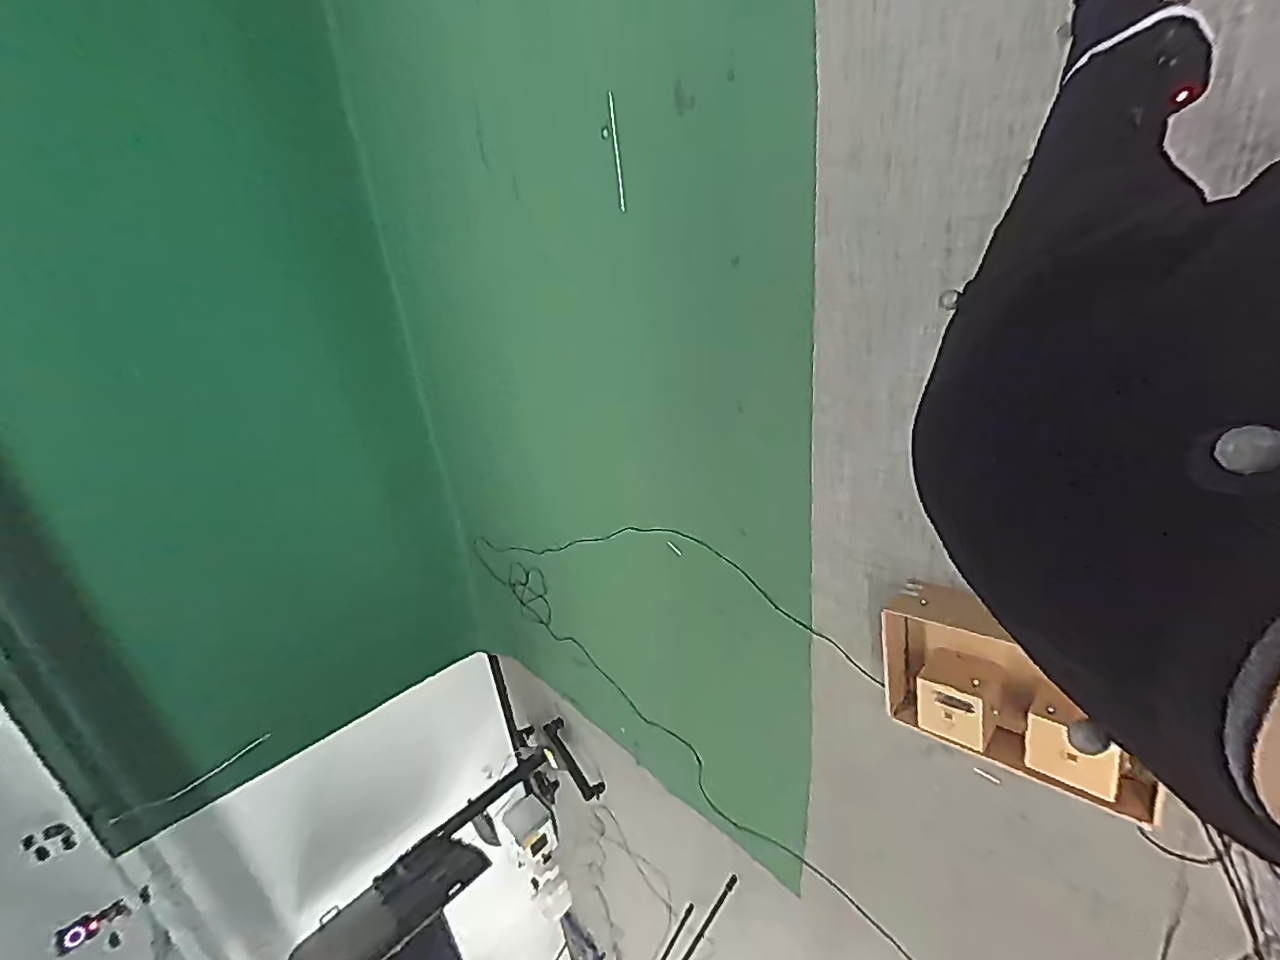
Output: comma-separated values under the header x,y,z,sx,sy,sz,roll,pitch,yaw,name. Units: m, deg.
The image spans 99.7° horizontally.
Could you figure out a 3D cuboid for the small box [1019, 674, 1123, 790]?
x,y,z,sx,sy,sz,roll,pitch,yaw,name
1.078,0.617,1.352,0.179,0.176,0.168,10,116,48,small box
